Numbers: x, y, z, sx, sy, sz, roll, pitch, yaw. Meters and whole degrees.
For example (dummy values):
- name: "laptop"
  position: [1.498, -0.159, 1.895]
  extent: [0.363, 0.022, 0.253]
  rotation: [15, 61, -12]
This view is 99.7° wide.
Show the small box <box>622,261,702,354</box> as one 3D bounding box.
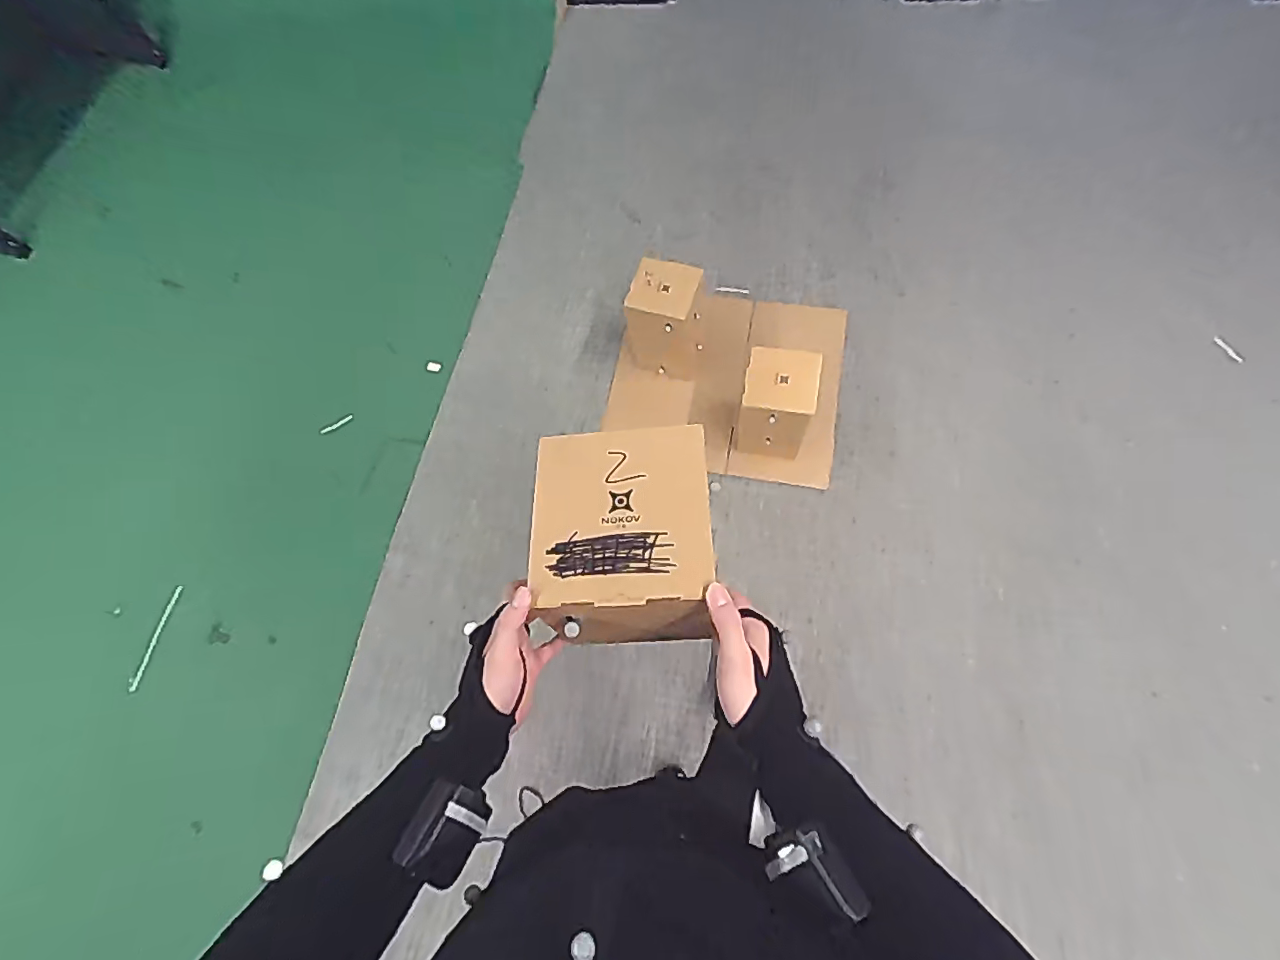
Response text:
- name: "small box"
  position: [0.067, -0.472, 1.500]
  extent: [0.179, 0.176, 0.168]
  rotation: [17, 73, 13]

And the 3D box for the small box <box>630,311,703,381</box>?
- name: "small box"
  position: [0.085, -0.425, 1.659]
  extent: [0.179, 0.176, 0.168]
  rotation: [18, 74, 12]

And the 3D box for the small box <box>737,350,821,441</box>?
- name: "small box"
  position: [0.350, -0.210, 1.382]
  extent: [0.179, 0.176, 0.168]
  rotation: [9, 73, 11]

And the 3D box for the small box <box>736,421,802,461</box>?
- name: "small box"
  position: [0.371, -0.165, 1.536]
  extent: [0.179, 0.176, 0.168]
  rotation: [10, 73, 11]
